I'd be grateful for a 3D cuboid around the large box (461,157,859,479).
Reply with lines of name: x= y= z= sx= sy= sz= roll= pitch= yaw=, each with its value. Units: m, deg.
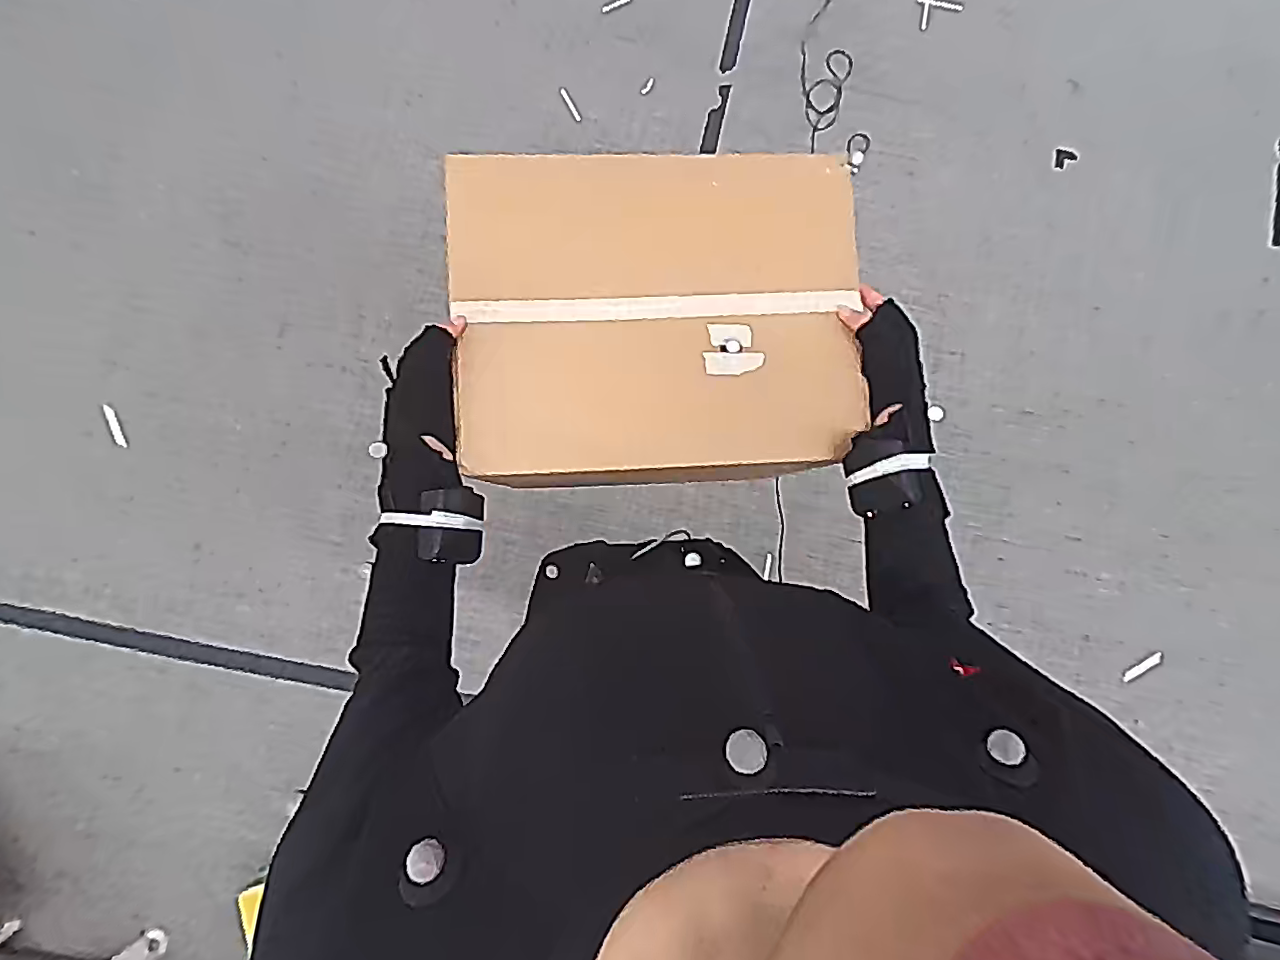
large box: x=0.010 y=-0.169 z=0.695 sx=0.408 sy=0.320 sz=0.320 roll=-1 pitch=88 yaw=-5
